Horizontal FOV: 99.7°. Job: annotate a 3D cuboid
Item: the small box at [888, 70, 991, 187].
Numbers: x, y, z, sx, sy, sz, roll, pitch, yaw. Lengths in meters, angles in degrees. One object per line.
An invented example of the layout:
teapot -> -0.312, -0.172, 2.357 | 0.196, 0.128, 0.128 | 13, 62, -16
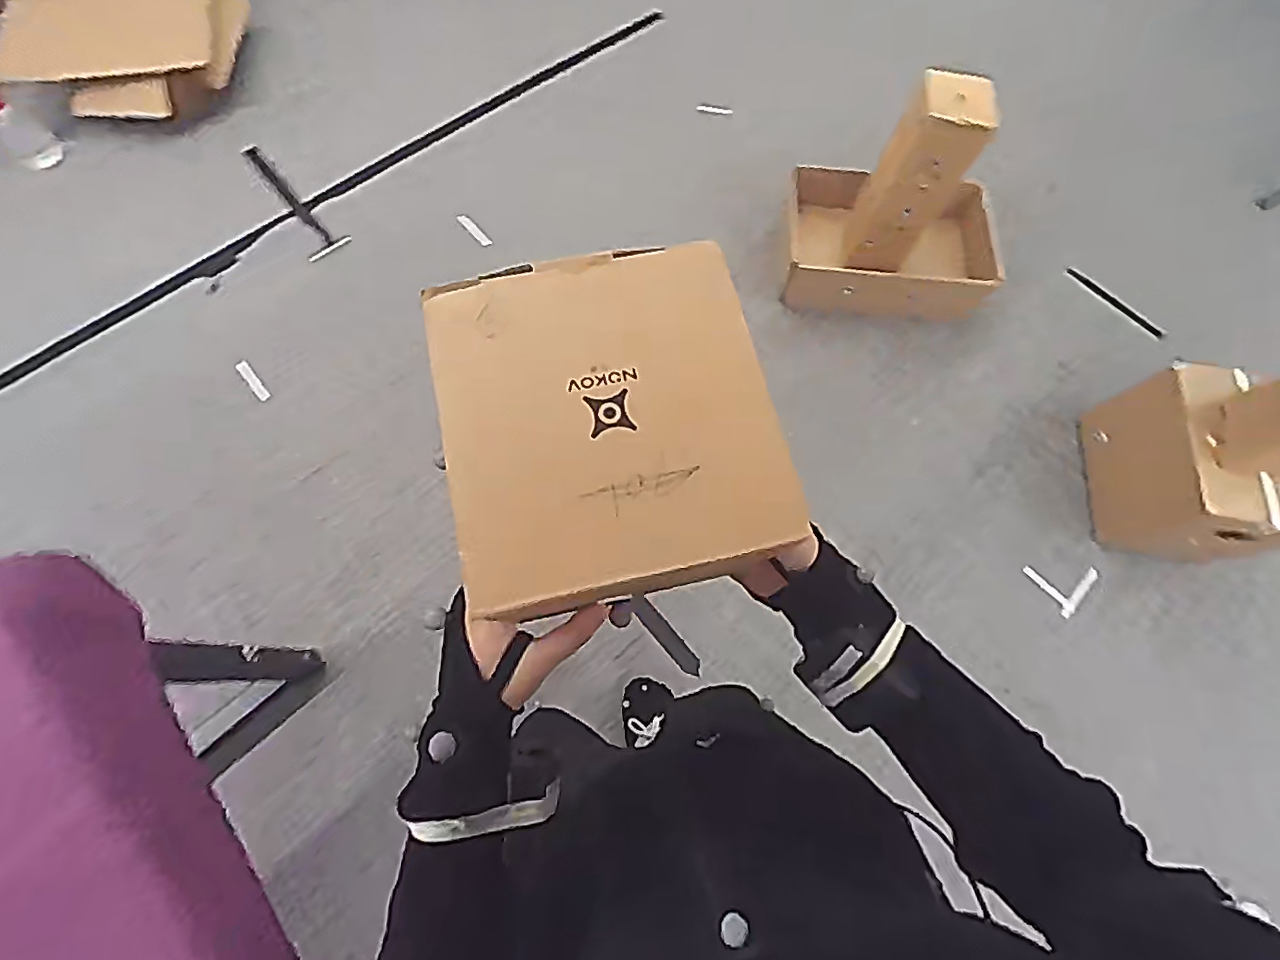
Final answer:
small box -> 0.752, -0.889, 1.377 | 0.168, 0.176, 0.179 | 8, 69, -1

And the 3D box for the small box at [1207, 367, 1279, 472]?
small box -> 1.432, -0.128, 1.206 | 0.179, 0.176, 0.168 | 9, 71, 0

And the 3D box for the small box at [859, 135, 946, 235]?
small box -> 0.736, -0.826, 1.527 | 0.168, 0.176, 0.179 | 9, 70, -1

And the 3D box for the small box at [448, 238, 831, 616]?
small box -> -0.010, -0.018, 0.350 | 0.168, 0.176, 0.179 | -12, 76, -6
